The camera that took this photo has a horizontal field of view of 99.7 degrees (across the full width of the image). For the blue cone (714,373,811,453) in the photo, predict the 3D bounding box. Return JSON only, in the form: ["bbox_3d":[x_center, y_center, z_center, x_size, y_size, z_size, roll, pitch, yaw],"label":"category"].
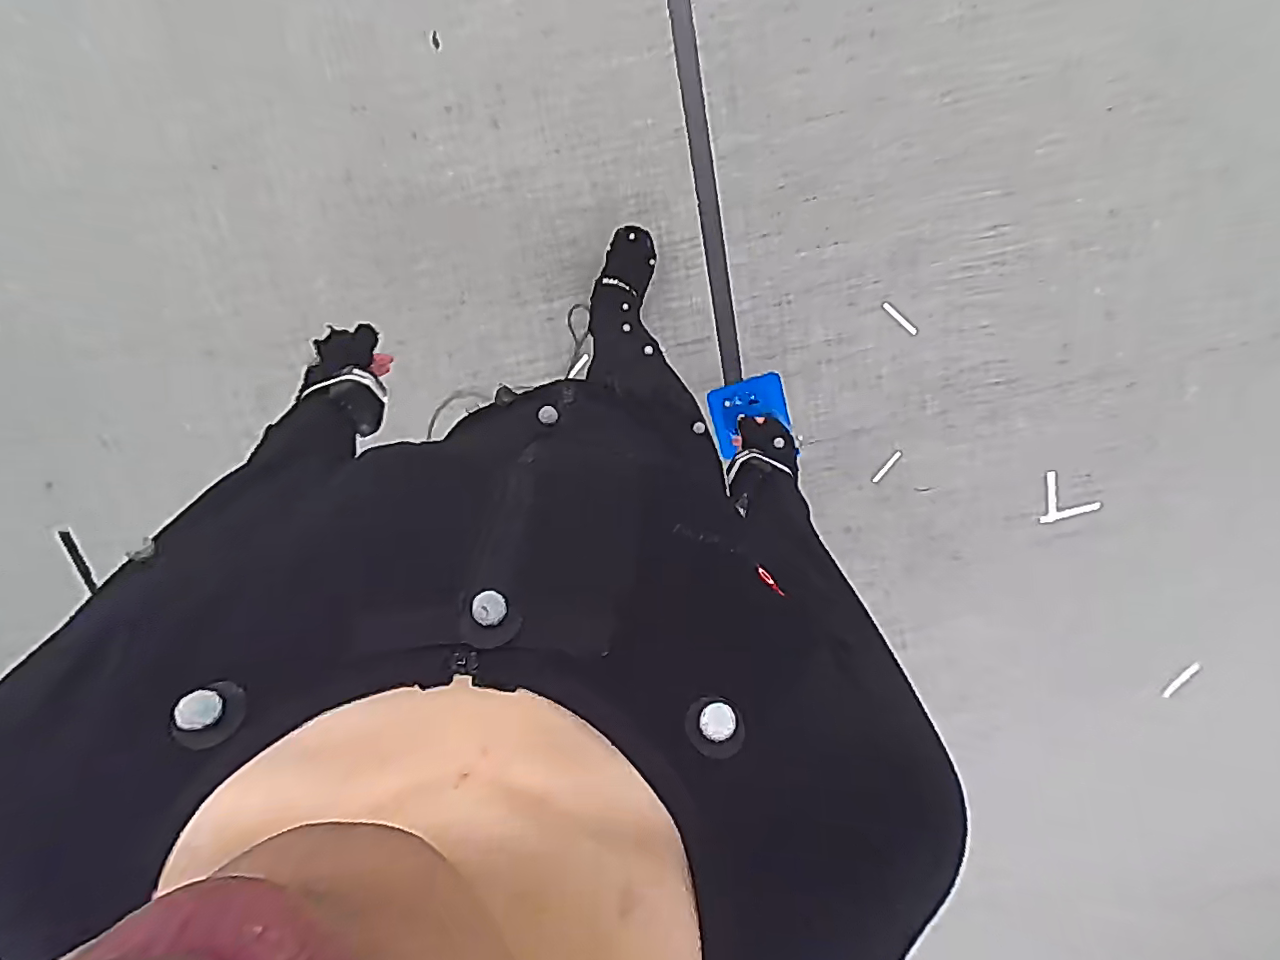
[{"bbox_3d":[0.311,-0.125,1.282,0.192,0.380,0.193,-16,108,1],"label":"blue cone"}]
